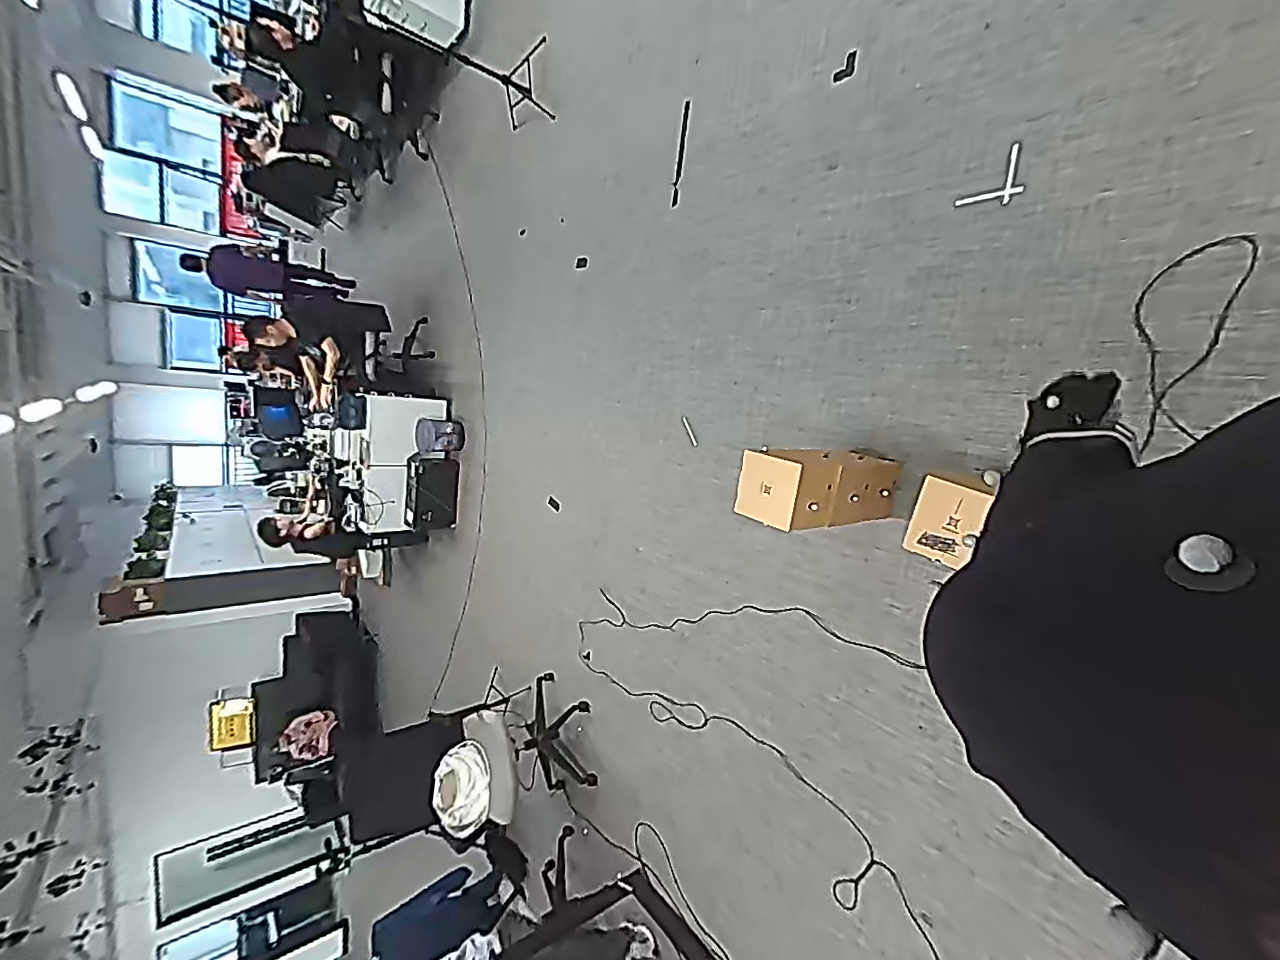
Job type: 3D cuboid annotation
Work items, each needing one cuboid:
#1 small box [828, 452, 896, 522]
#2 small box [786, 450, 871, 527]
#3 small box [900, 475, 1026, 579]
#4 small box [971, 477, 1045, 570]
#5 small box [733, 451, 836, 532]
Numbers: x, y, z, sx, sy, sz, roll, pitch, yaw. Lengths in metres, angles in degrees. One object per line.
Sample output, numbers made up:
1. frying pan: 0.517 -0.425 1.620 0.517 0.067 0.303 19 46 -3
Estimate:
1. small box: 0.614 0.013 1.575 0.179 0.176 0.168 22 108 48
2. small box: 0.493 0.017 1.463 0.179 0.176 0.168 25 110 48
3. small box: 0.716 0.096 1.197 0.168 0.176 0.179 29 112 46
4. small box: 0.841 0.096 1.304 0.168 0.176 0.179 27 112 48
5. small box: 0.365 0.020 1.361 0.179 0.176 0.168 22 108 49
